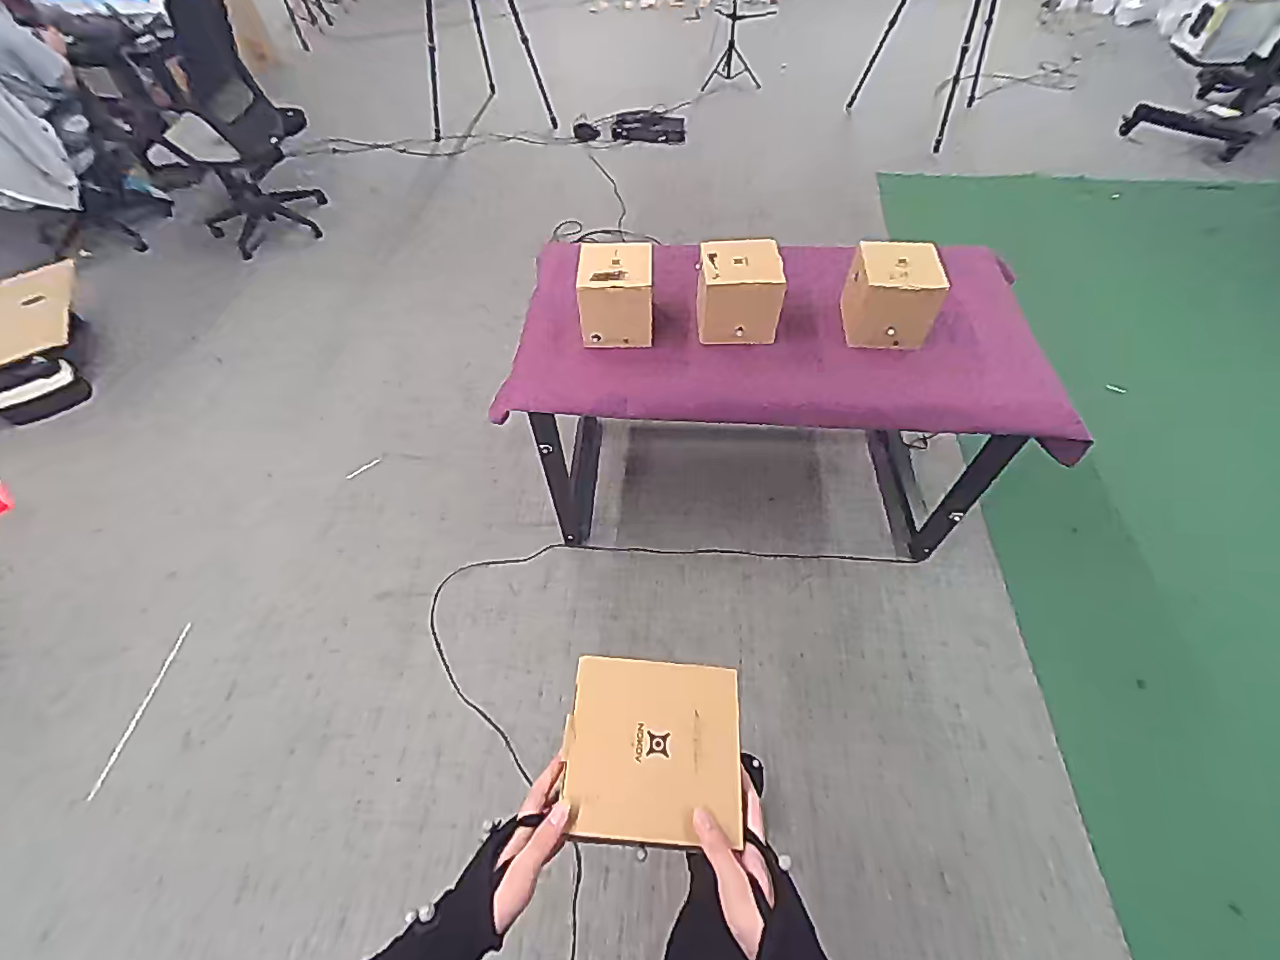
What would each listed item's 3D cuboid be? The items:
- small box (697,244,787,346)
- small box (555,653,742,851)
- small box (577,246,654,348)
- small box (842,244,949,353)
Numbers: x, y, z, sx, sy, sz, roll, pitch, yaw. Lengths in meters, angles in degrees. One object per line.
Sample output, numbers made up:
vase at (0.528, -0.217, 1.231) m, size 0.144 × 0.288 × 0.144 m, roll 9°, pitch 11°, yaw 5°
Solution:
small box at (0.231, -0.429, 1.269) m, size 0.179 × 0.176 × 0.168 m, roll 0°, pitch 54°, yaw 1°
small box at (0.011, 0.308, 0.605) m, size 0.179 × 0.176 × 0.168 m, roll 5°, pitch 54°, yaw 0°
small box at (-0.051, -0.426, 1.275) m, size 0.168 × 0.176 × 0.179 m, roll 0°, pitch 53°, yaw 1°
small box at (0.576, -0.417, 1.248) m, size 0.168 × 0.176 × 0.179 m, roll 4°, pitch 54°, yaw 6°
